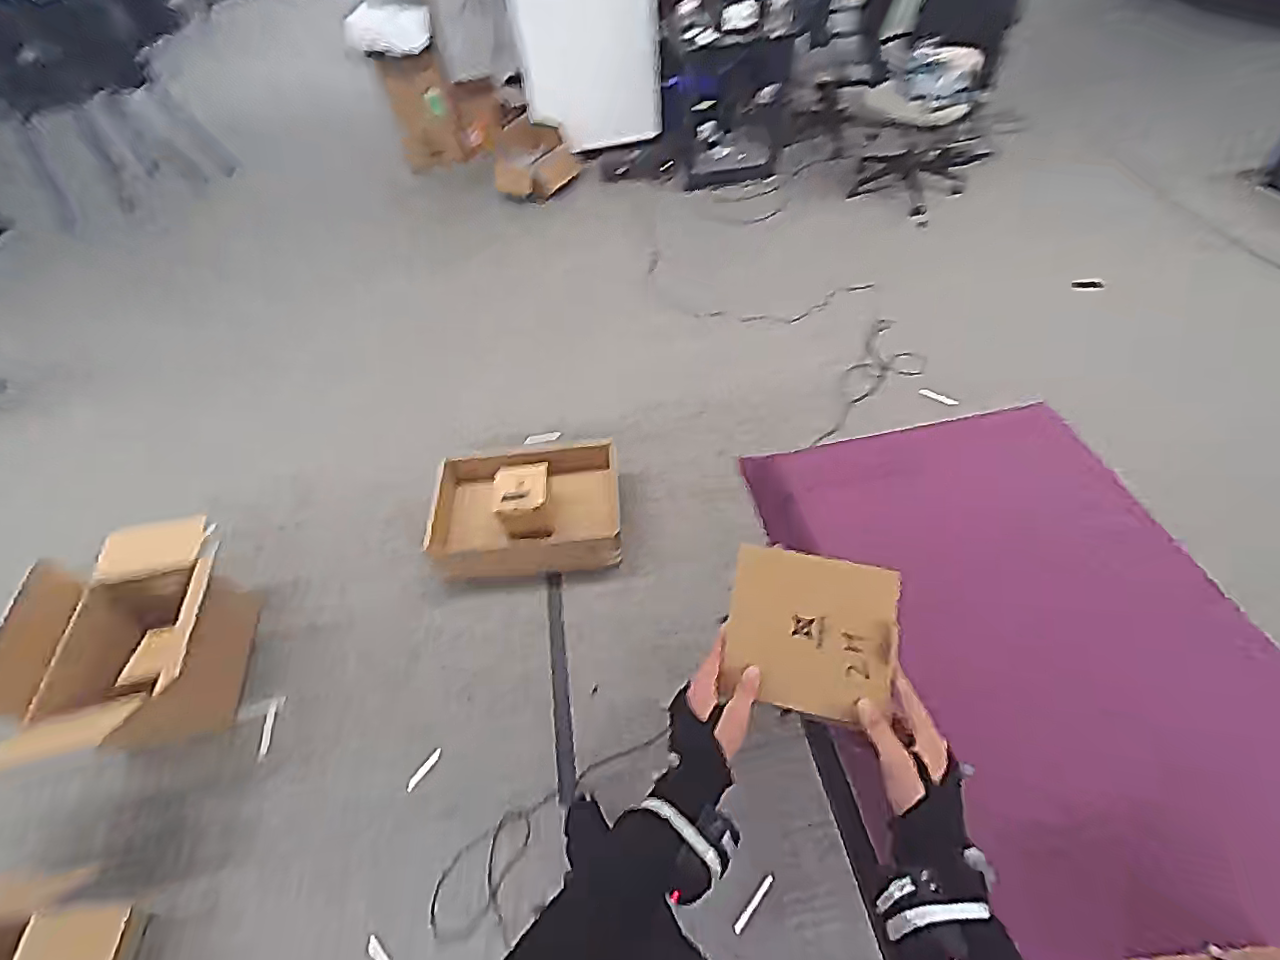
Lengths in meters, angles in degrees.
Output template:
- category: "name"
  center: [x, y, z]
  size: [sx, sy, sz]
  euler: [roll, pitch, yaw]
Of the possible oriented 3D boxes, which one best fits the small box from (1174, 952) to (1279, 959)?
- category: "small box"
  center: [0.651, 0.561, 0.506]
  size: [0.179, 0.176, 0.168]
  euler: [-5, 52, 0]
